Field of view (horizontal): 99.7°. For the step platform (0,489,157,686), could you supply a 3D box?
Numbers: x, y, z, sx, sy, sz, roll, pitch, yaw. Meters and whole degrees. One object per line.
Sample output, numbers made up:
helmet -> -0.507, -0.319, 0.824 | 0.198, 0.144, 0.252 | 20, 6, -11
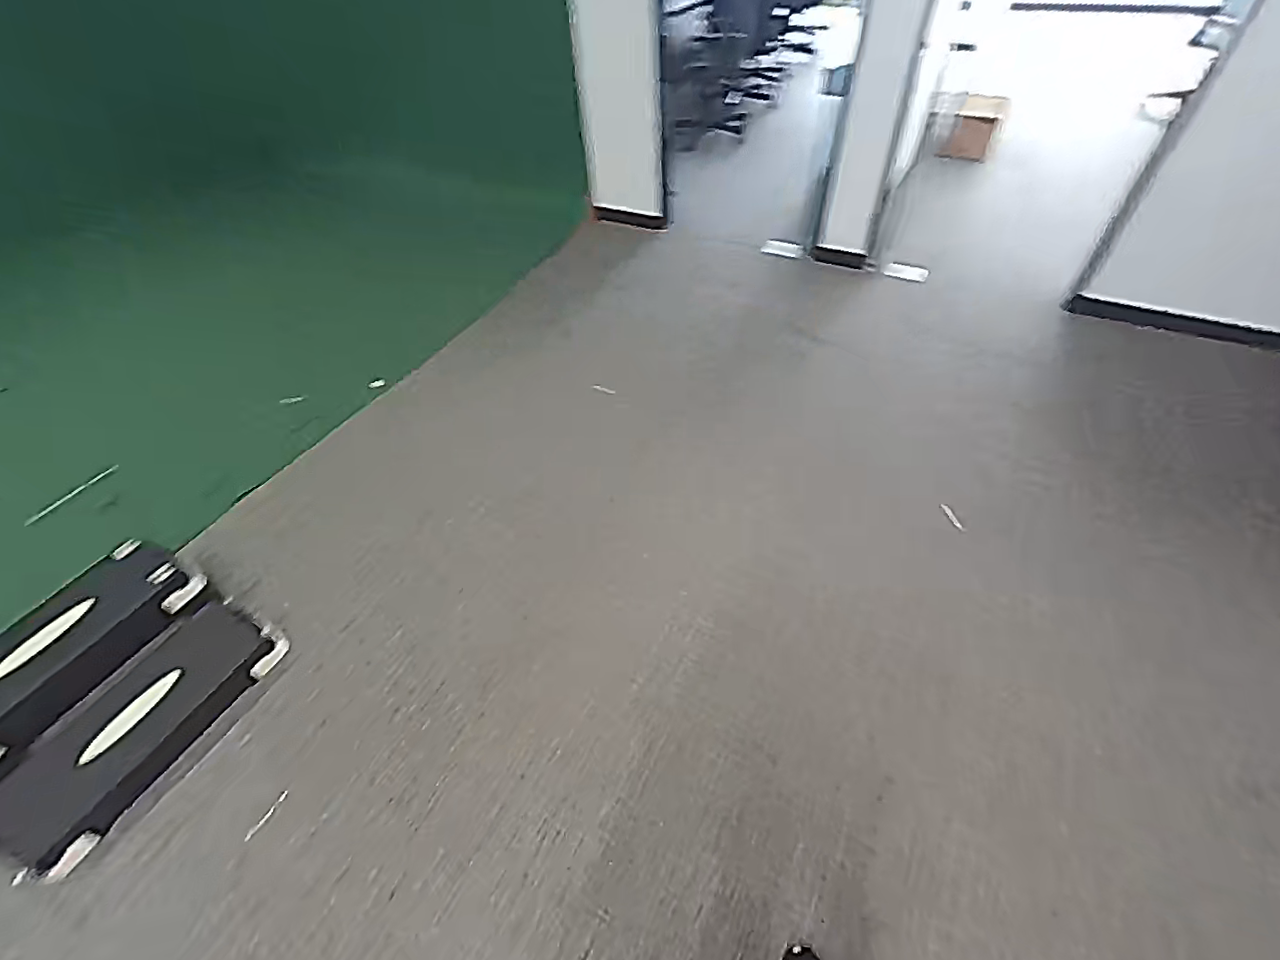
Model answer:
step platform -> -1.671, 0.347, 1.381 | 0.286, 0.204, 0.684 | 22, 55, 21
